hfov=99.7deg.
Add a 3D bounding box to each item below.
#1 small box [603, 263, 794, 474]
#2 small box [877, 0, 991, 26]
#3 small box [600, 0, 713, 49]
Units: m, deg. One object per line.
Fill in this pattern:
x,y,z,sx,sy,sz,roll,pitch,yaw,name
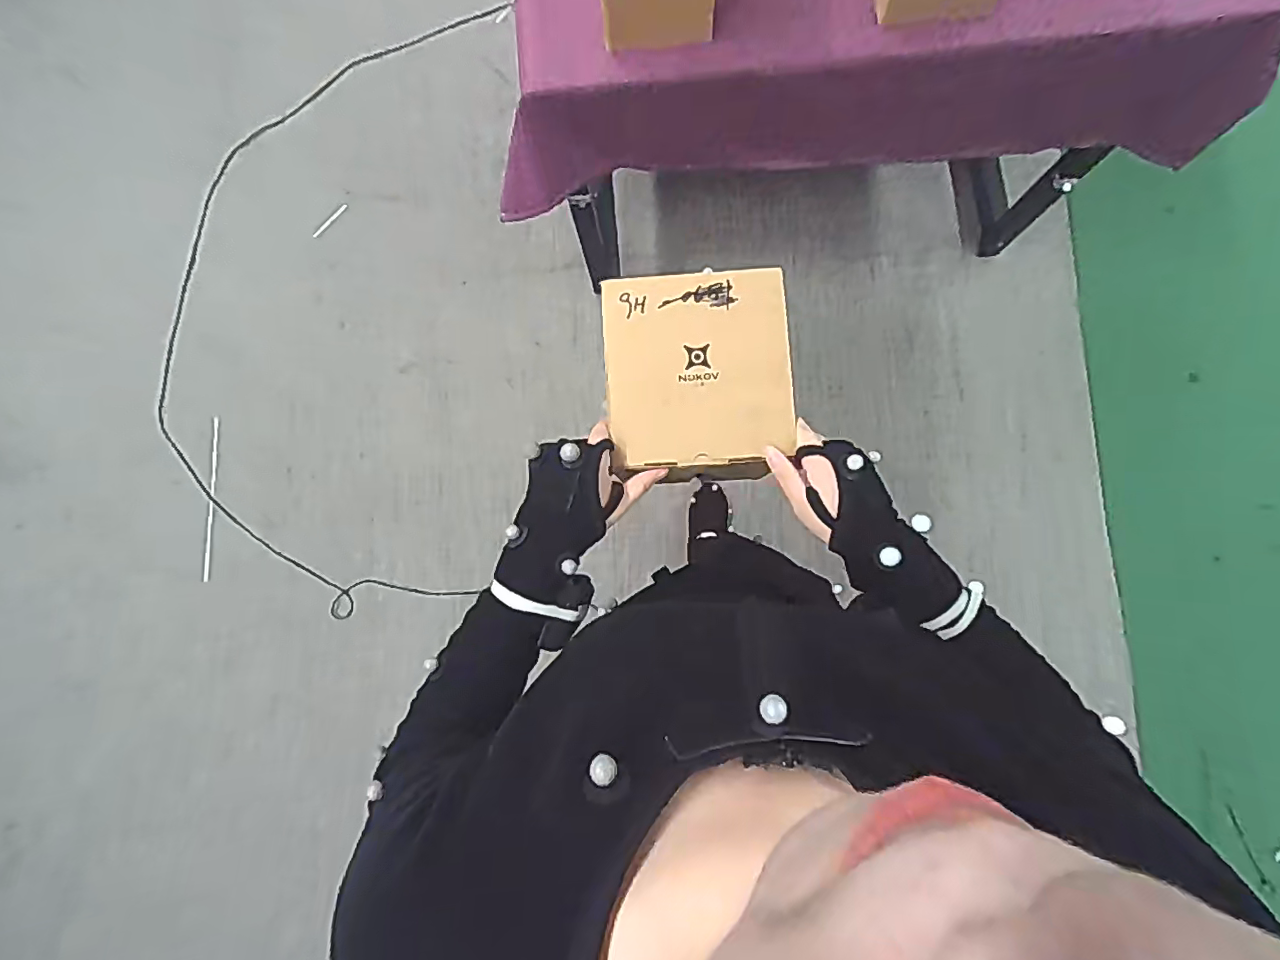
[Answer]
0.054,-0.099,0.560,0.168,0.176,0.179,-3,85,2,small box
0.461,-0.820,0.799,0.179,0.176,0.168,-2,83,2,small box
0.022,-0.797,0.817,0.179,0.176,0.168,-4,82,1,small box
